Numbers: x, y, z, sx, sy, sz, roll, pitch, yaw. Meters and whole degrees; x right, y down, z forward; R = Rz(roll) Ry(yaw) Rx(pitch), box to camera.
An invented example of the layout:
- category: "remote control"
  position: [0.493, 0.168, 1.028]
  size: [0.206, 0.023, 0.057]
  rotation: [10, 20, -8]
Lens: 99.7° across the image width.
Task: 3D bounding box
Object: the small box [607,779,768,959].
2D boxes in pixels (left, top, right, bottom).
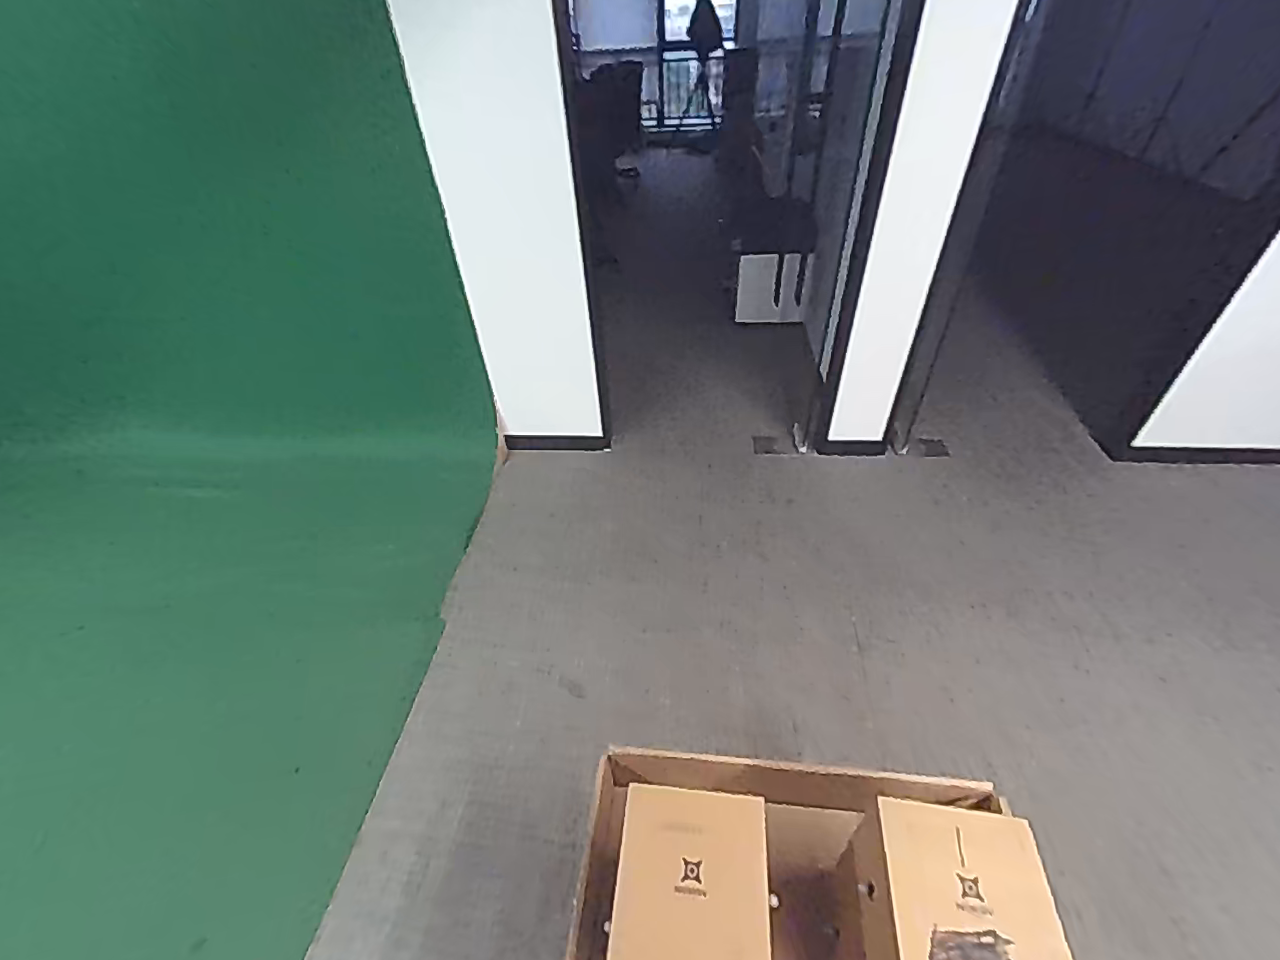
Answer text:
- category: "small box"
  position: [0.062, 0.493, 0.650]
  size: [0.168, 0.176, 0.179]
  rotation: [4, 42, 7]

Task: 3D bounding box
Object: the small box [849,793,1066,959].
- category: "small box"
  position: [0.349, 0.498, 0.624]
  size: [0.168, 0.176, 0.179]
  rotation: [5, 42, 9]
